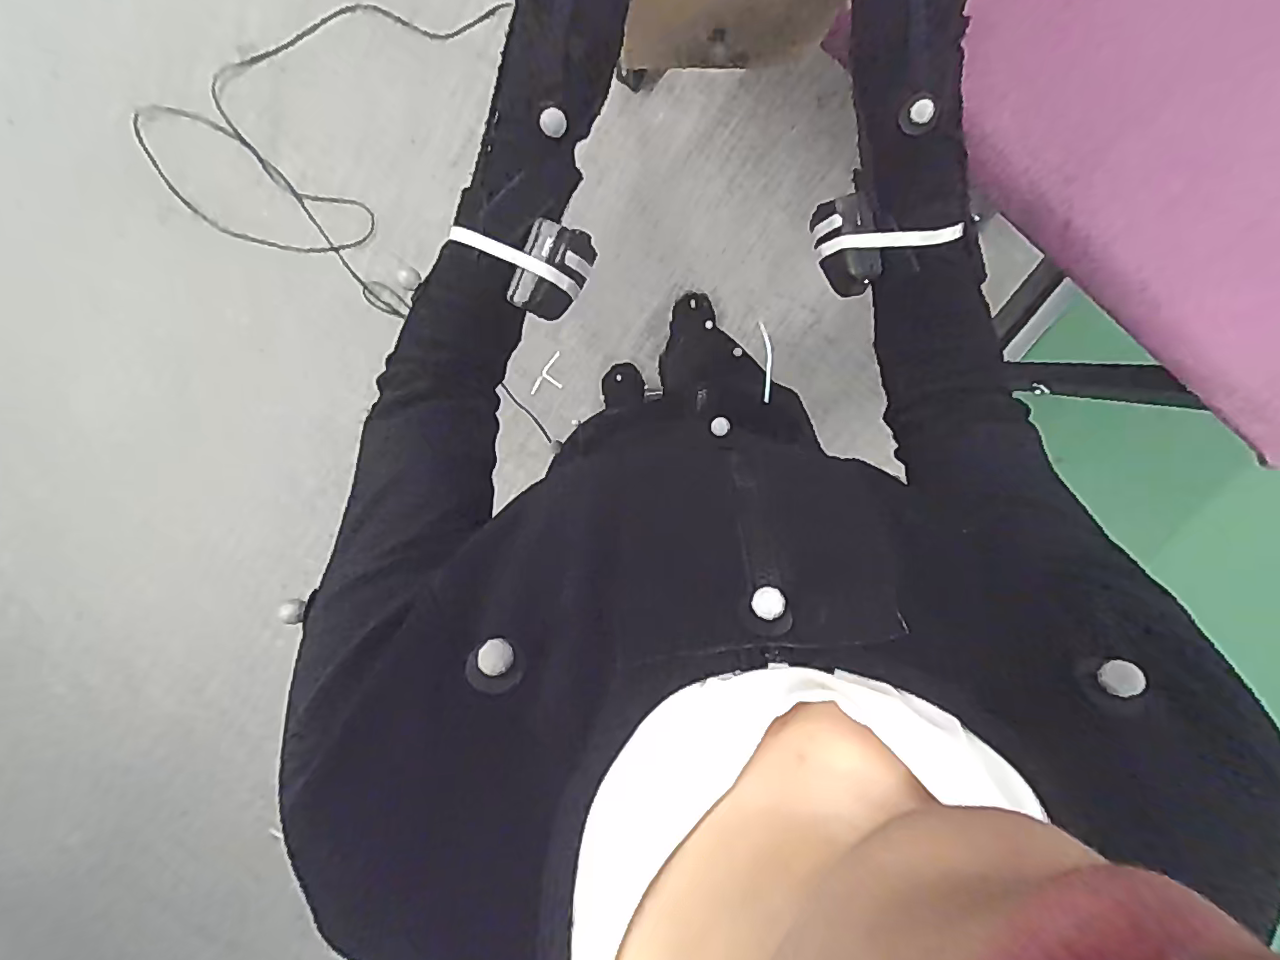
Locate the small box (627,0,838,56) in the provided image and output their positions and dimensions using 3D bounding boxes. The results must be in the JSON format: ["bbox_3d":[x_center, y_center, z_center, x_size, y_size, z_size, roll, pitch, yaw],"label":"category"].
[{"bbox_3d":[0.069,-0.440,0.377,0.168,0.176,0.179,0,104,2],"label":"small box"}]
